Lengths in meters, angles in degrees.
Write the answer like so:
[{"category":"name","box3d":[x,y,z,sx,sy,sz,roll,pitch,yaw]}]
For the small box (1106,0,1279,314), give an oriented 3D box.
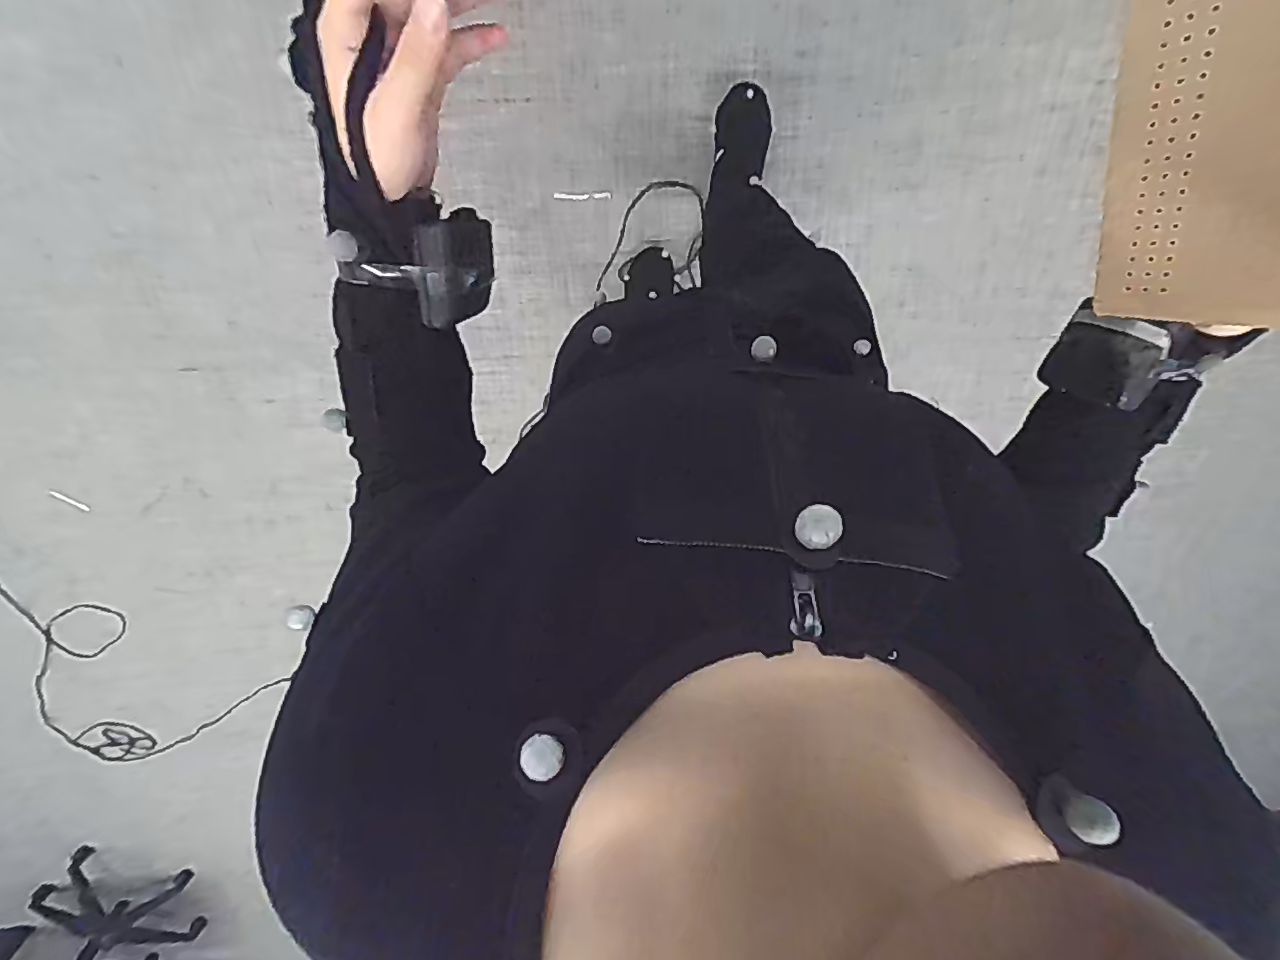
[{"category":"small box","box3d":[0.300,-0.161,0.176,0.168,0.176,0.179,-27,118,-12]}]
